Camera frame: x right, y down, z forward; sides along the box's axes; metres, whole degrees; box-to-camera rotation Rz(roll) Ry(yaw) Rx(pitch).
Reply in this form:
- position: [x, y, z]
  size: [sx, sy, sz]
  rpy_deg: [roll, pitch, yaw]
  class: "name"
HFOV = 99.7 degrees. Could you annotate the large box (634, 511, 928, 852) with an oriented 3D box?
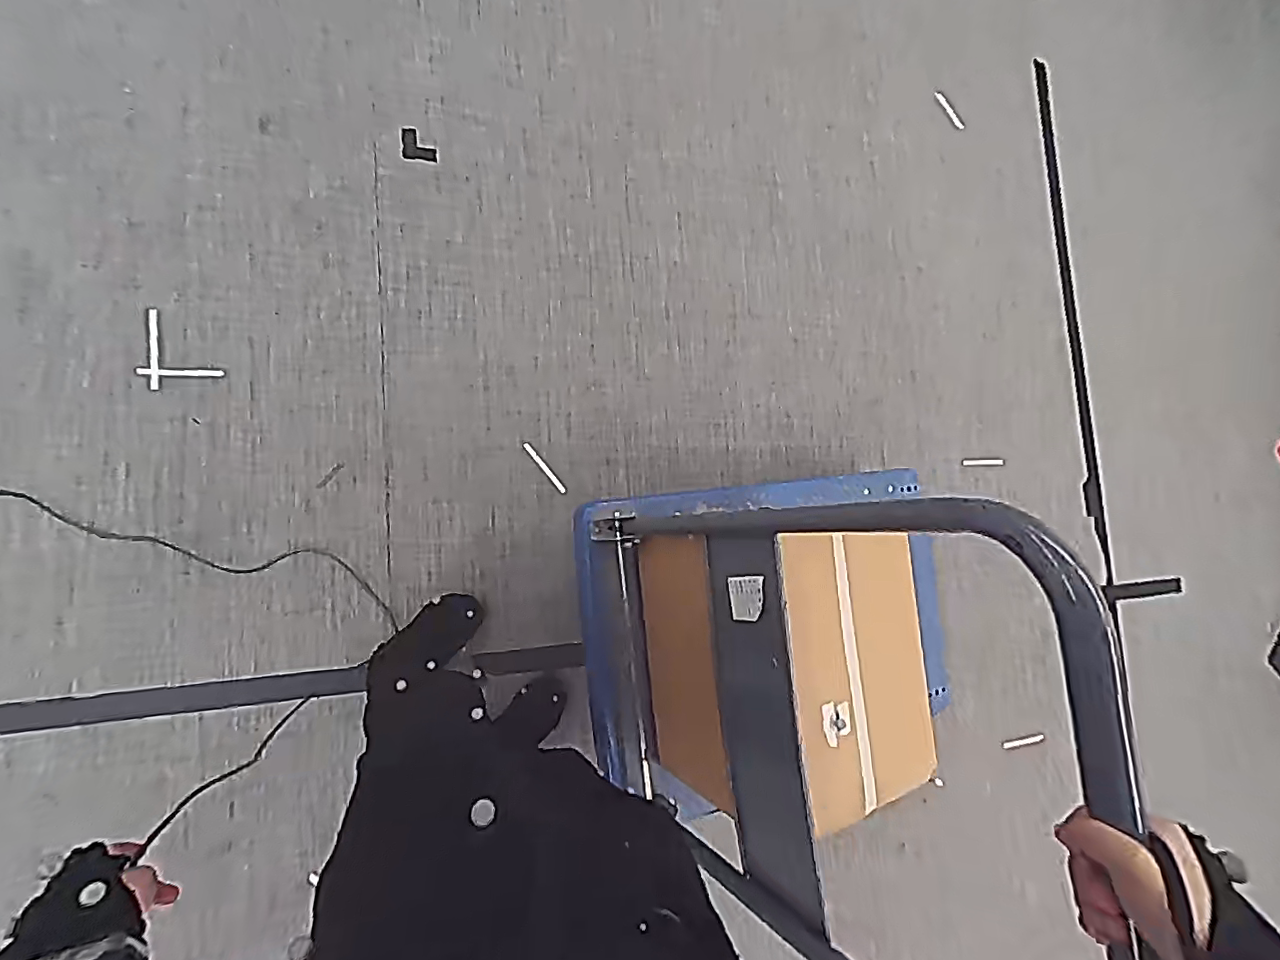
- position: [0.210, 0.271, 0.882]
  size: [0.320, 0.320, 0.408]
  rpy_deg: [-5, 87, -28]
  class: "large box"
